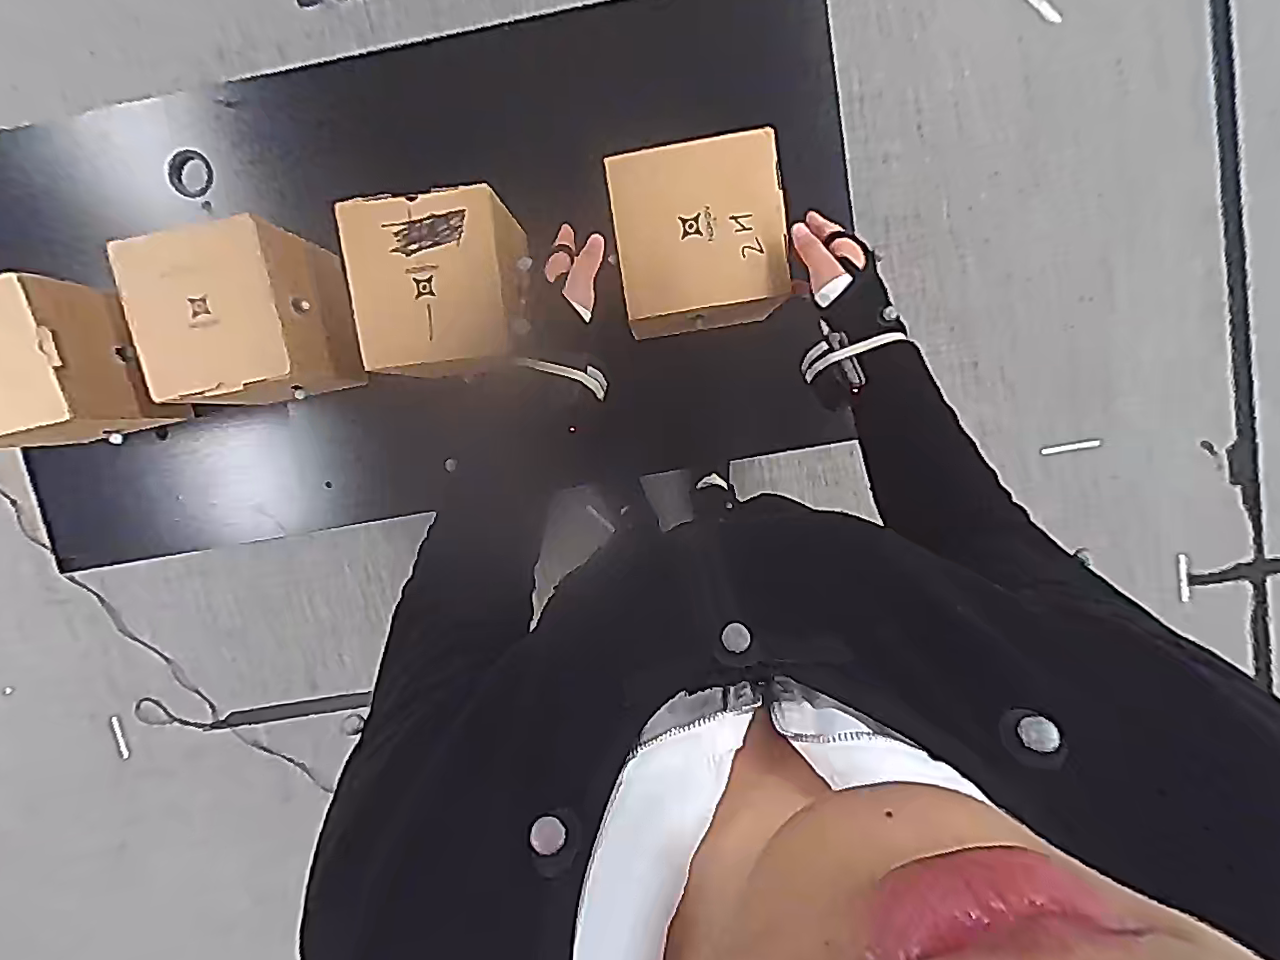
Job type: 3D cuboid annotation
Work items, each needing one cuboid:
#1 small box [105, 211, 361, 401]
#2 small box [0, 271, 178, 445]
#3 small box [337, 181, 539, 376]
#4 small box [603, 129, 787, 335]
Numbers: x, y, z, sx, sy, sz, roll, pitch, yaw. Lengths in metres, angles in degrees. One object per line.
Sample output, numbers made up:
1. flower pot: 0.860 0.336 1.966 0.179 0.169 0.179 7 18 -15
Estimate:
1. small box: -0.474 -0.196 0.662 0.168 0.176 0.179 -11 96 2
2. small box: -0.730 -0.141 0.672 0.179 0.176 0.168 -12 97 2
3. small box: -0.226 -0.226 0.650 0.168 0.176 0.179 -6 98 2
4. small box: 0.061 -0.274 0.637 0.179 0.176 0.168 -8 98 3
